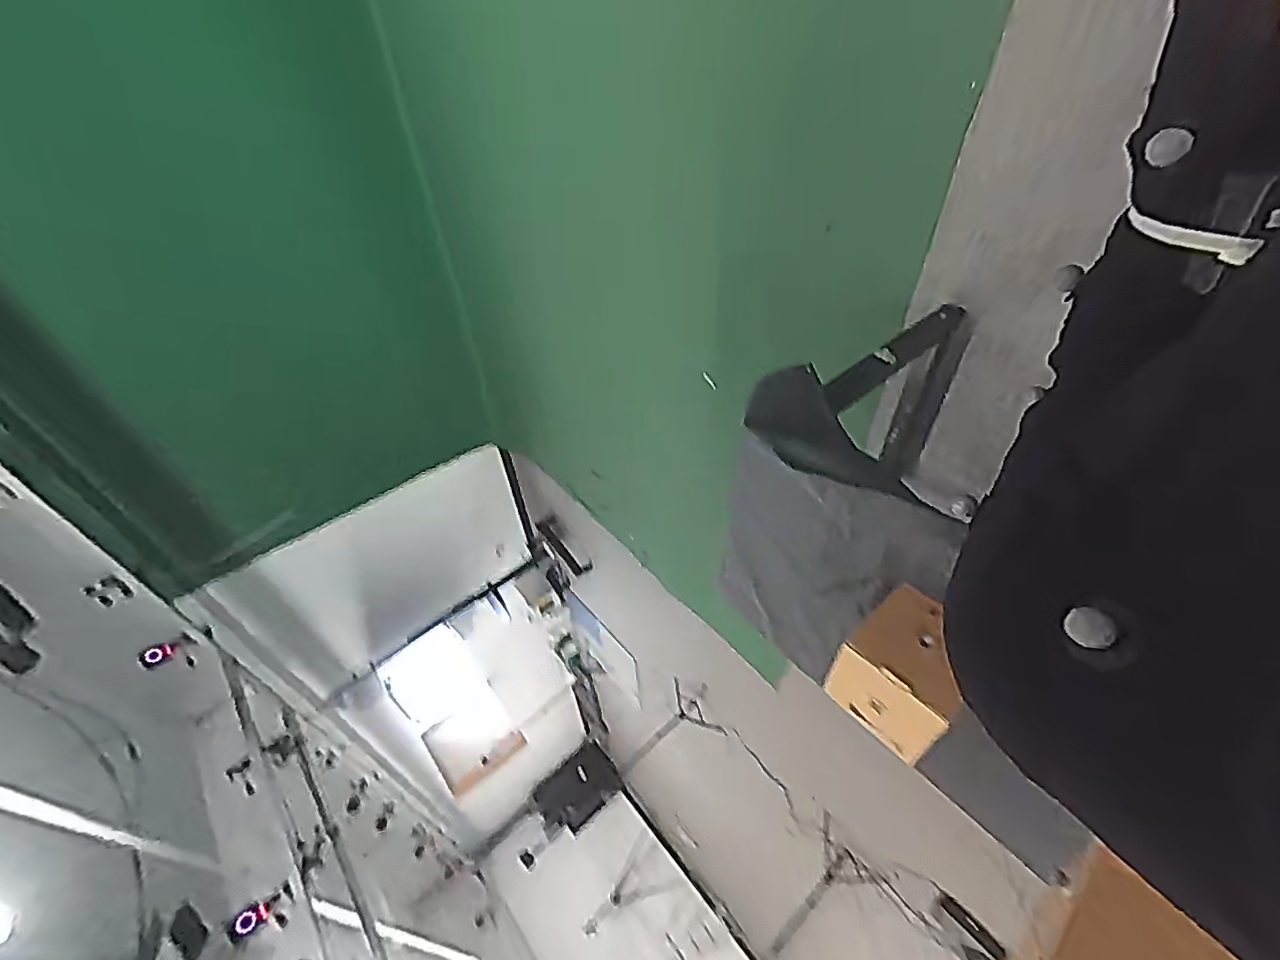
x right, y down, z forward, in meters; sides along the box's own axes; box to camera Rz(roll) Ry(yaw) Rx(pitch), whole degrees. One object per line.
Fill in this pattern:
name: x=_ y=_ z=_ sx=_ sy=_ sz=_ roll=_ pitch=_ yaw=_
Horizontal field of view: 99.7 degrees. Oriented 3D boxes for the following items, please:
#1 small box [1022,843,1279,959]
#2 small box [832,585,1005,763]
small box: x=0.549 y=0.544 z=0.576 sx=0.179 sy=0.176 sz=0.168 roll=35 pitch=145 yaw=40
small box: x=0.442 y=0.302 z=0.864 sx=0.168 sy=0.176 sz=0.179 roll=38 pitch=147 yaw=34
